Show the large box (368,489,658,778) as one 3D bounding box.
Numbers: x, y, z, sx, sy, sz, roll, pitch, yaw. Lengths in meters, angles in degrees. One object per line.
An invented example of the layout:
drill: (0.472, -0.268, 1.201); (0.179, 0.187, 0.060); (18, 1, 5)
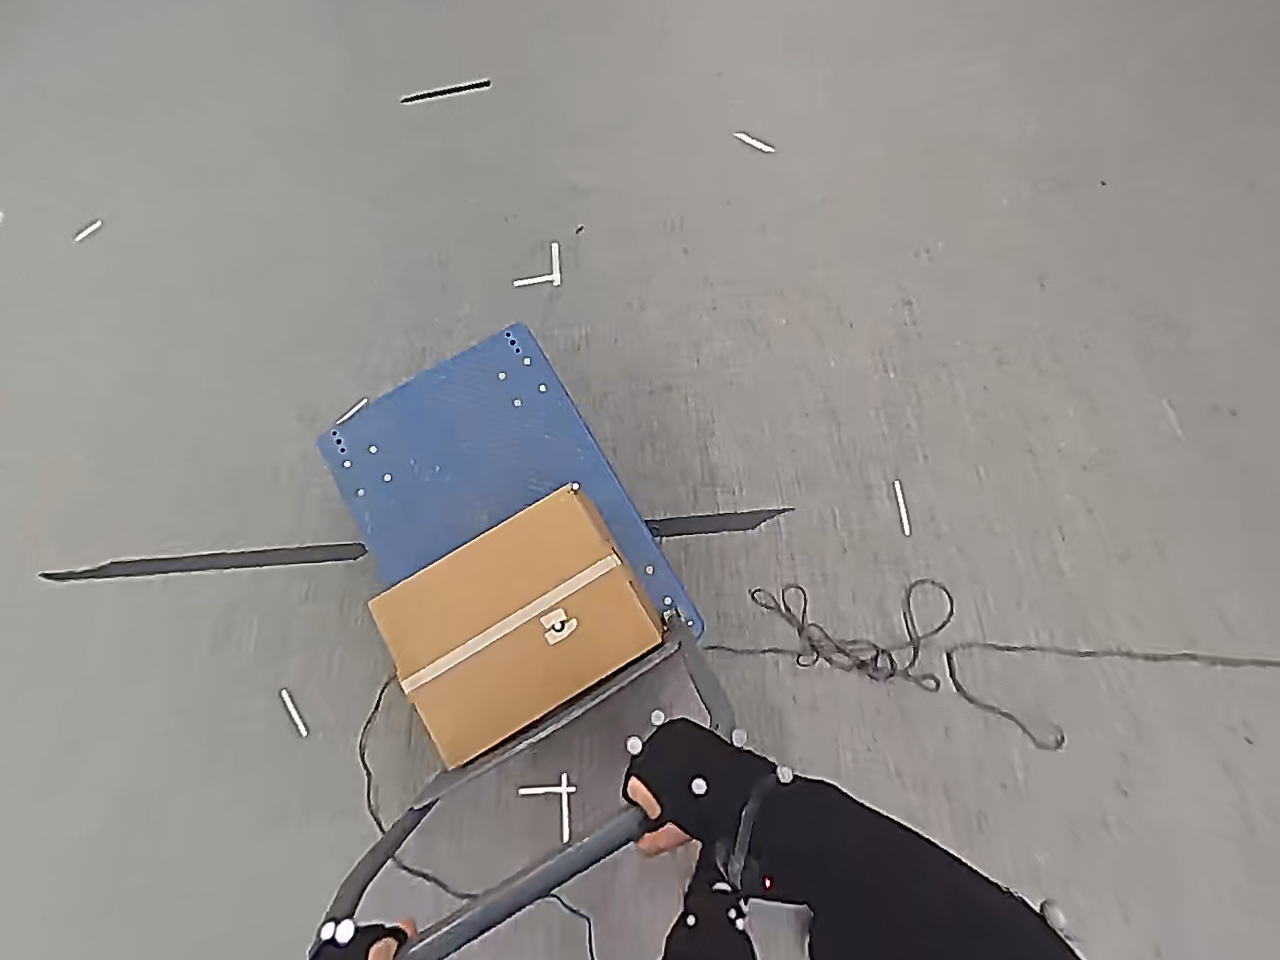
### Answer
large box: (-0.211, 0.275, 1.043); (0.408, 0.320, 0.320); (-32, 80, -4)
